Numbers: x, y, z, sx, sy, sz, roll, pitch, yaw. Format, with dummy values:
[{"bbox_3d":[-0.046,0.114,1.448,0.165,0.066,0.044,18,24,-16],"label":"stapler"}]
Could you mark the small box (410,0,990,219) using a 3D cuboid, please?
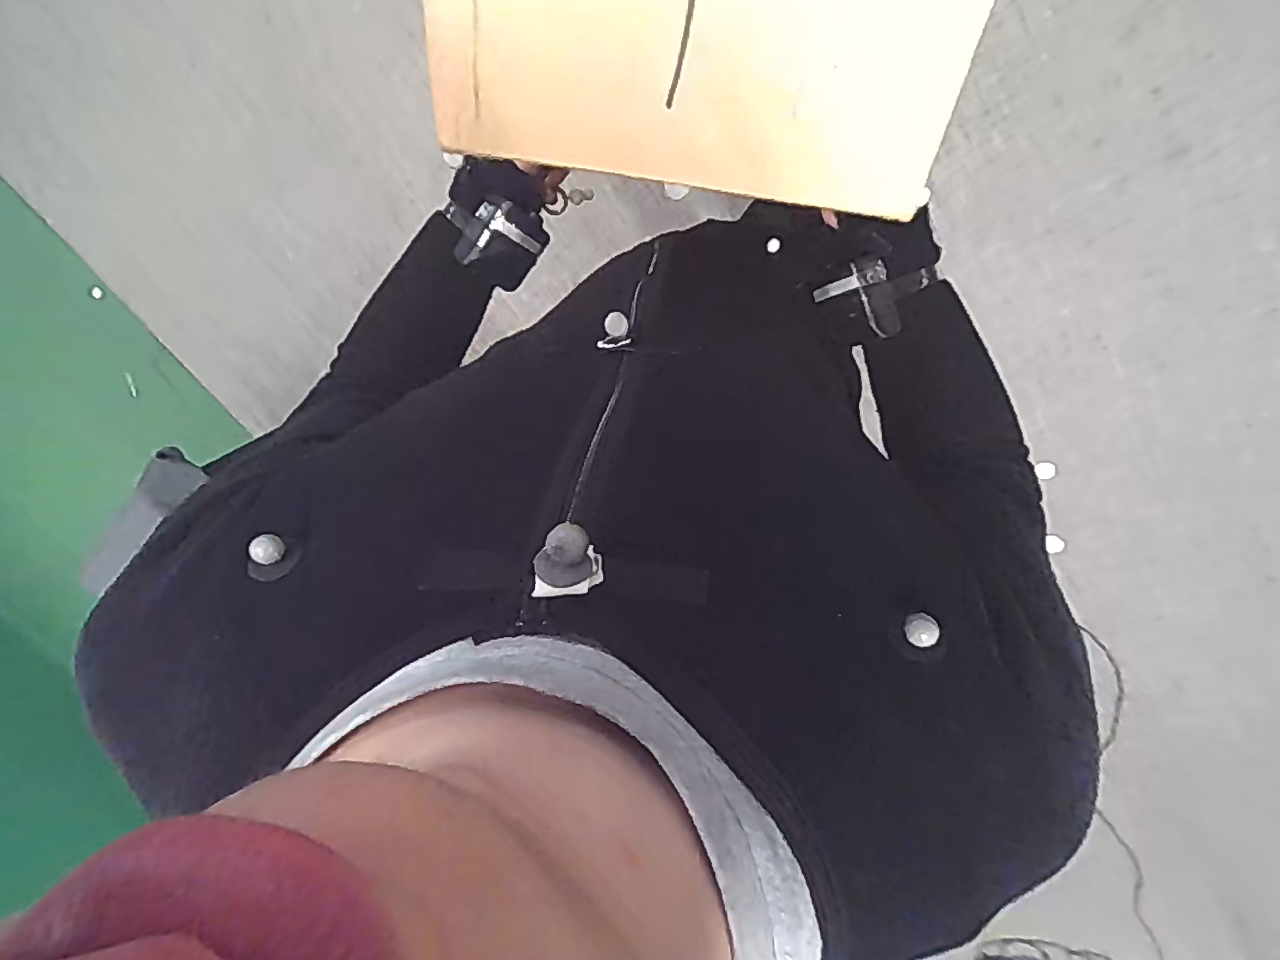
[{"bbox_3d":[0.031,-0.215,0.194,0.168,0.176,0.179,12,126,3],"label":"small box"}]
